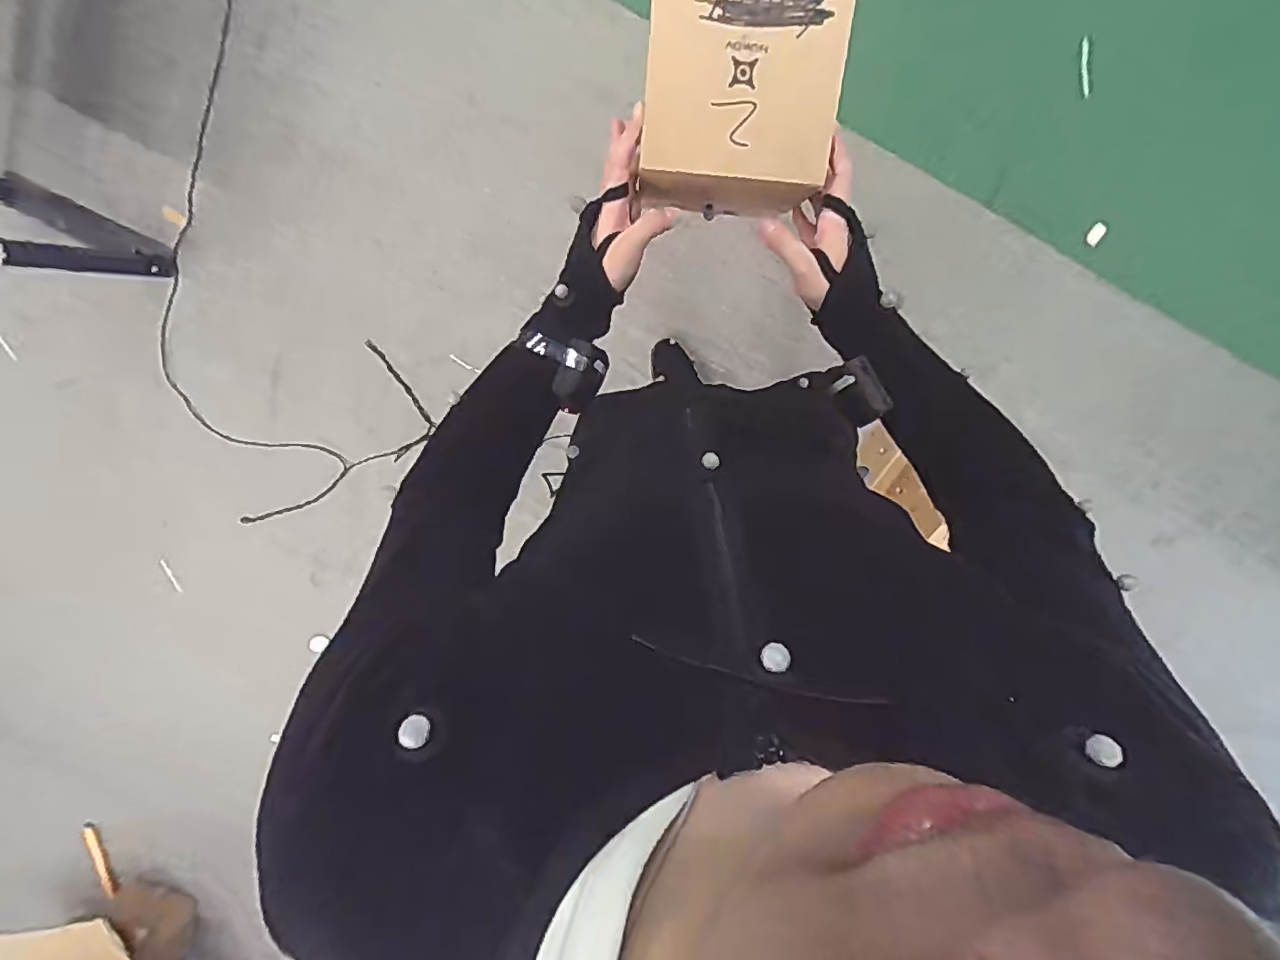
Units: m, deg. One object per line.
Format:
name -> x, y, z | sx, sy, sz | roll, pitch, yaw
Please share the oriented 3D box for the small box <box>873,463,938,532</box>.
small box -> 0.770, 0.069, 1.474 | 0.179, 0.176, 0.168 | 28, 109, -3
